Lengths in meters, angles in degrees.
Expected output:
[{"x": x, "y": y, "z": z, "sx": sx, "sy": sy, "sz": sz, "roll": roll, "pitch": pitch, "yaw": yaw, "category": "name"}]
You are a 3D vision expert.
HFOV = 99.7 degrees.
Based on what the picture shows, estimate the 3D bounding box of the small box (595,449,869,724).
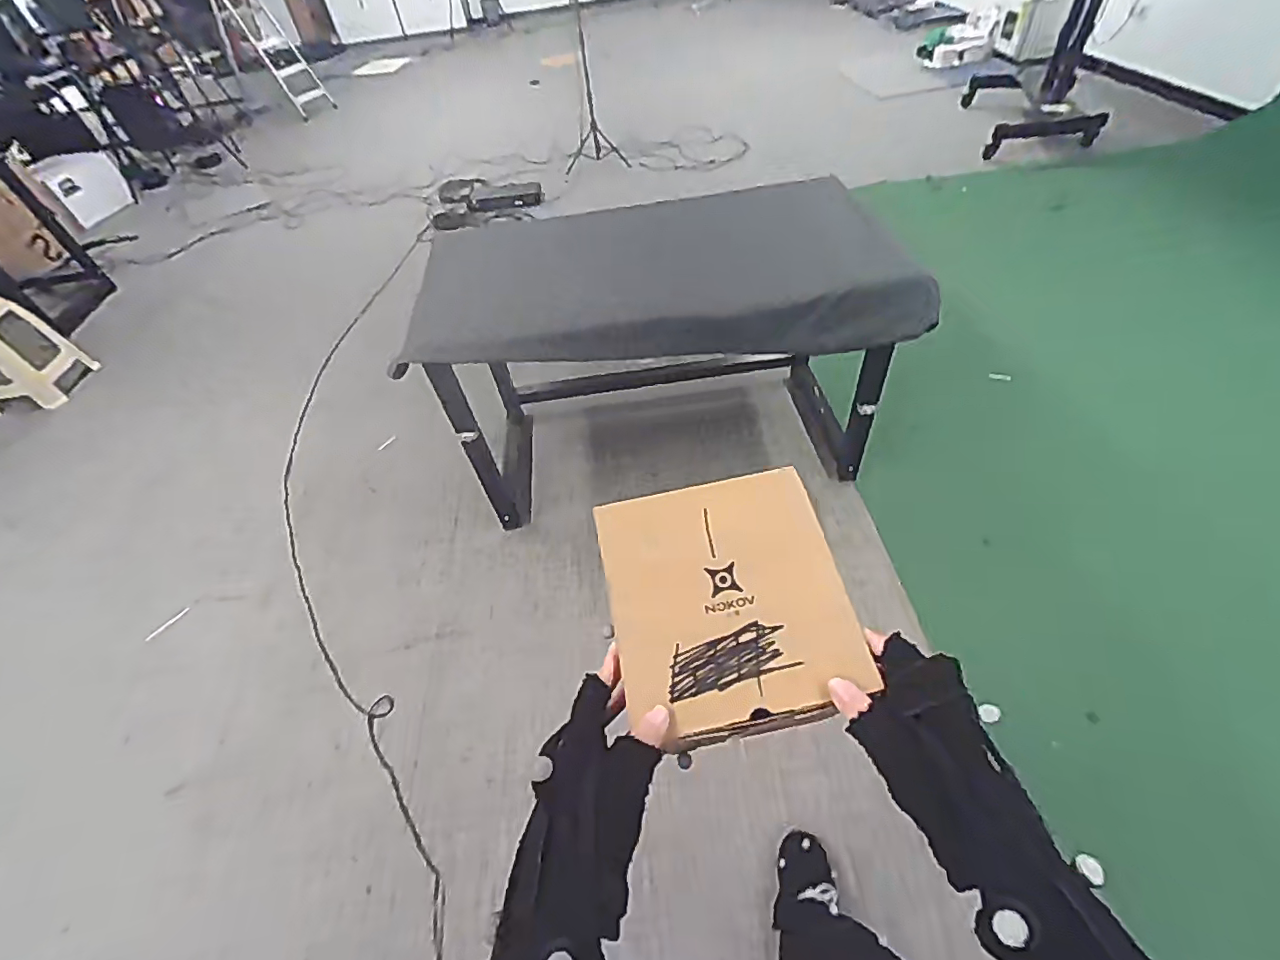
[{"x": 0.064, "y": 0.102, "z": 0.465, "sx": 0.168, "sy": 0.176, "sz": 0.179, "roll": -12, "pitch": 61, "yaw": -2, "category": "small box"}]
